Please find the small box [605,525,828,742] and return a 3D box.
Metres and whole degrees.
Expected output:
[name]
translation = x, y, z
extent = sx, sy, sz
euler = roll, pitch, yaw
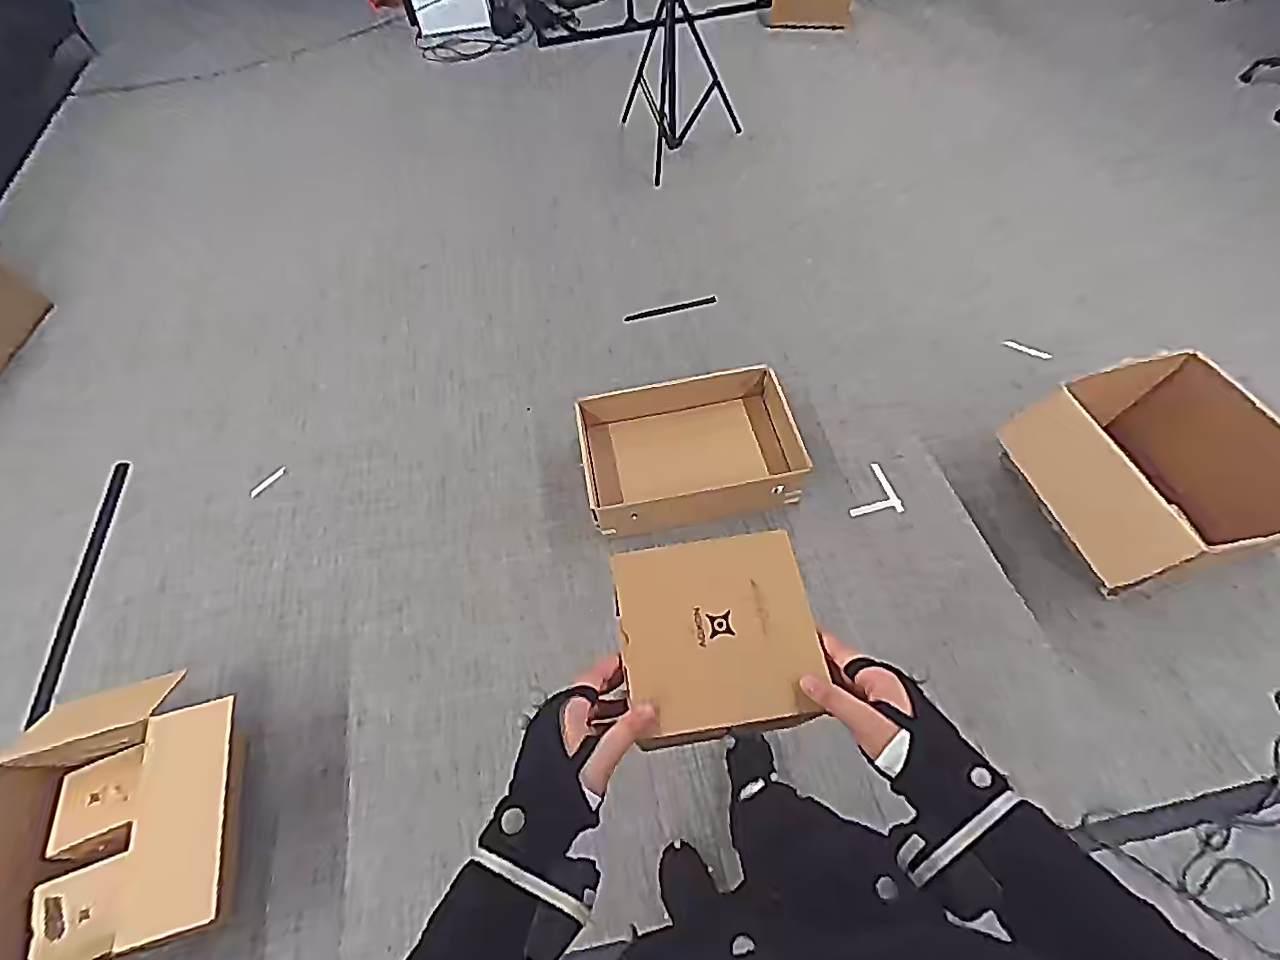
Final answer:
[small box]
translation = 0.066, 0.166, 0.560
extent = 0.179, 0.176, 0.168
euler = -9, 61, -3
